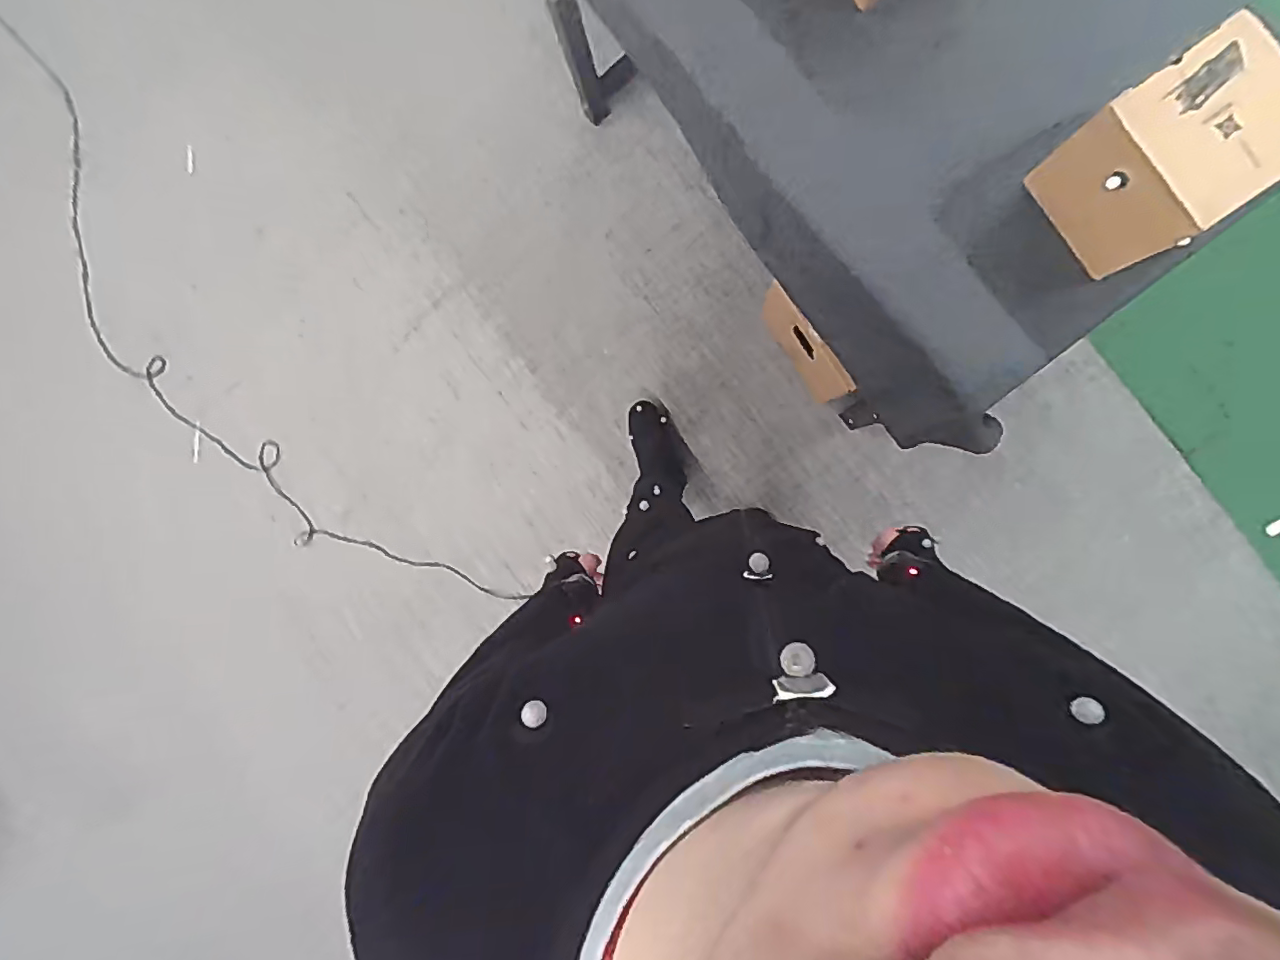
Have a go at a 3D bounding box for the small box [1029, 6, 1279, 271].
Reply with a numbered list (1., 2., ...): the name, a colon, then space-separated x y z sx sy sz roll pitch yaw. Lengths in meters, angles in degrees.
1. small box: 0.633 -0.392 0.658 0.168 0.176 0.179 -35 89 7
